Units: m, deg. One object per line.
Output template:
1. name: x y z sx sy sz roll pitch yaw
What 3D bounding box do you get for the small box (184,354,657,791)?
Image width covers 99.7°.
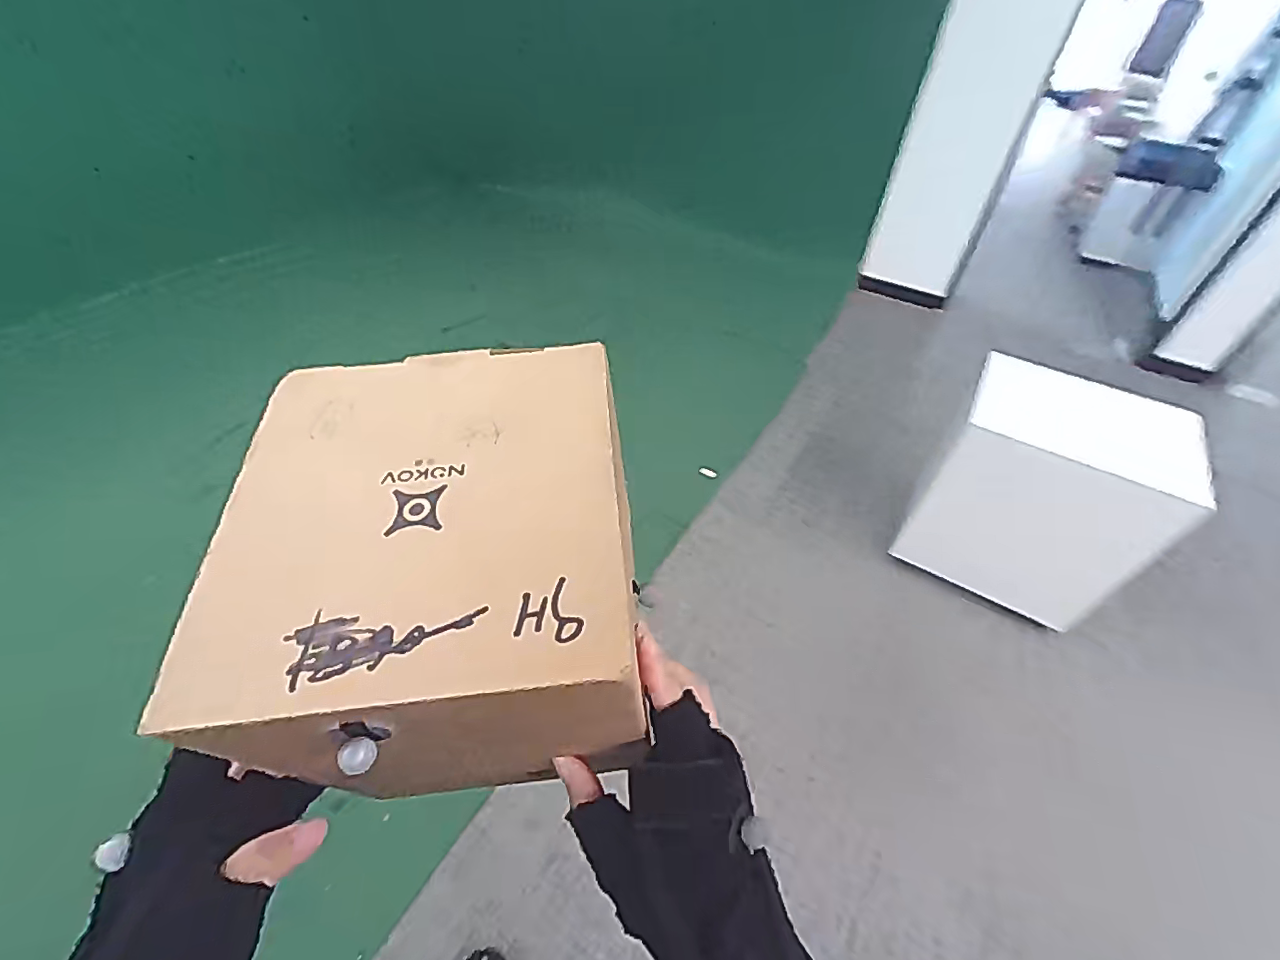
1. small box: -0.081 0.056 0.303 0.168 0.176 0.179 -6 53 1
